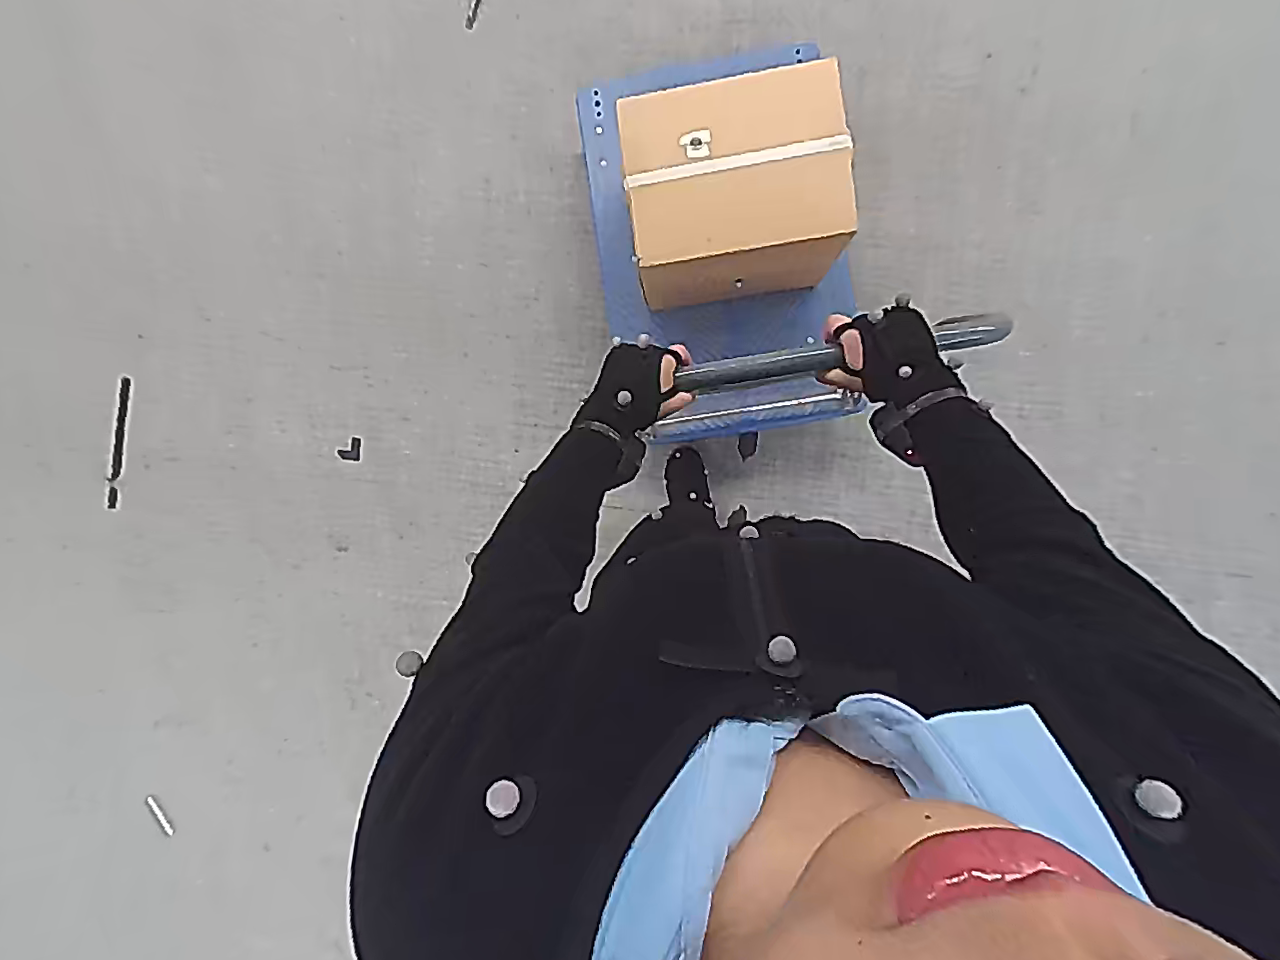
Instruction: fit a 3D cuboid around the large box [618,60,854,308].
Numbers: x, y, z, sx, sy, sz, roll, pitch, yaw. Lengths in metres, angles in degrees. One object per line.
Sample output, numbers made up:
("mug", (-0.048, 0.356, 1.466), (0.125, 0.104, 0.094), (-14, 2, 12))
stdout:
("large box", (0.191, -0.588, 1.149), (0.408, 0.320, 0.320), (-8, 90, 6))
